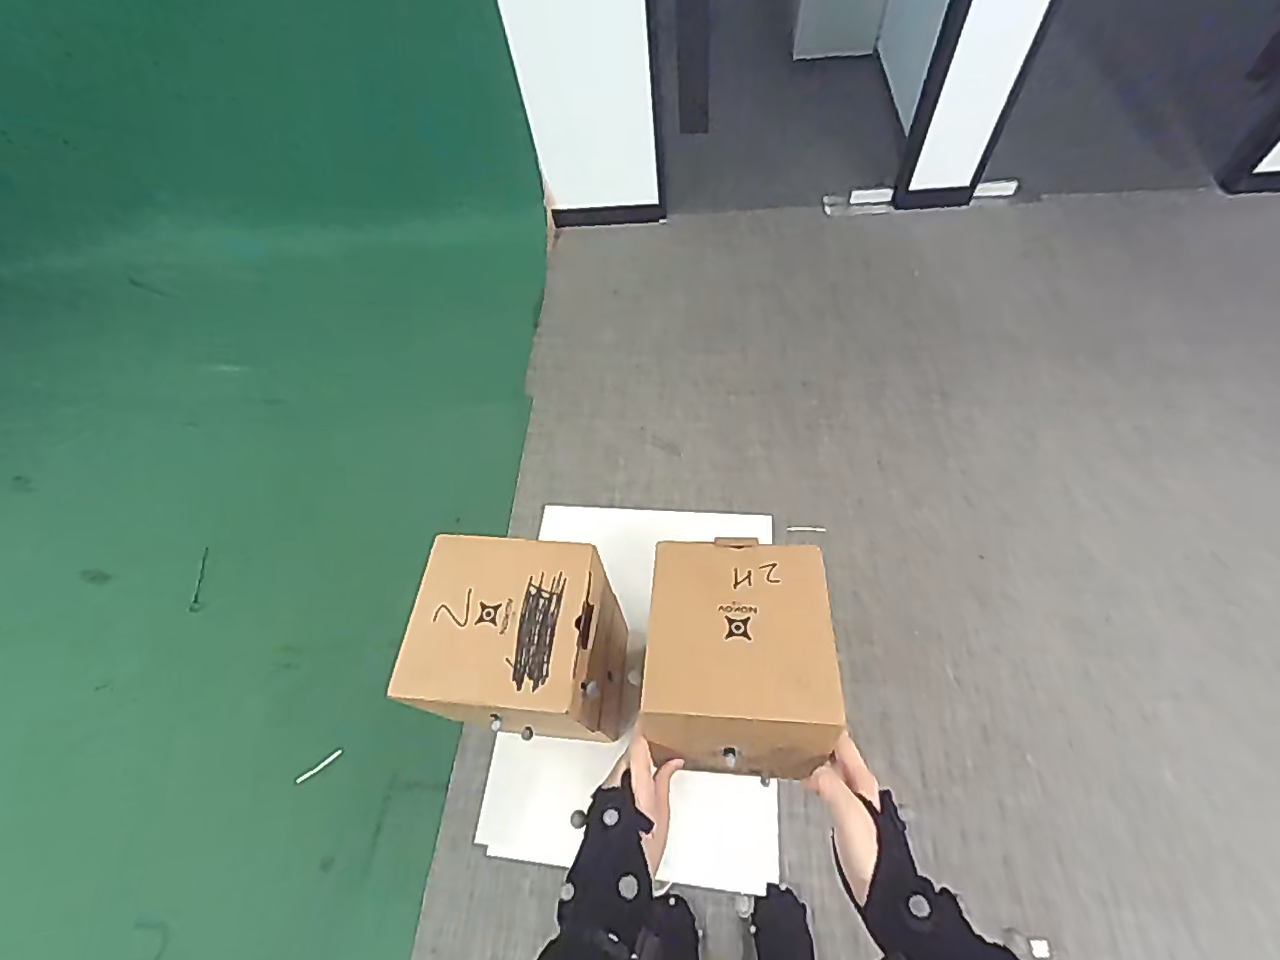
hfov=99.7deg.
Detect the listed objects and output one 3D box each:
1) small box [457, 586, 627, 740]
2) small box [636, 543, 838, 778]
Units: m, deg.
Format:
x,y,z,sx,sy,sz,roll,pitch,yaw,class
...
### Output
x,y,z,sx,sy,sz,roll,pitch,yaw,class
-0.119,0.254,0.739,0.179,0.176,0.168,3,61,6,small box
0.093,0.184,0.547,0.168,0.176,0.179,2,48,7,small box
